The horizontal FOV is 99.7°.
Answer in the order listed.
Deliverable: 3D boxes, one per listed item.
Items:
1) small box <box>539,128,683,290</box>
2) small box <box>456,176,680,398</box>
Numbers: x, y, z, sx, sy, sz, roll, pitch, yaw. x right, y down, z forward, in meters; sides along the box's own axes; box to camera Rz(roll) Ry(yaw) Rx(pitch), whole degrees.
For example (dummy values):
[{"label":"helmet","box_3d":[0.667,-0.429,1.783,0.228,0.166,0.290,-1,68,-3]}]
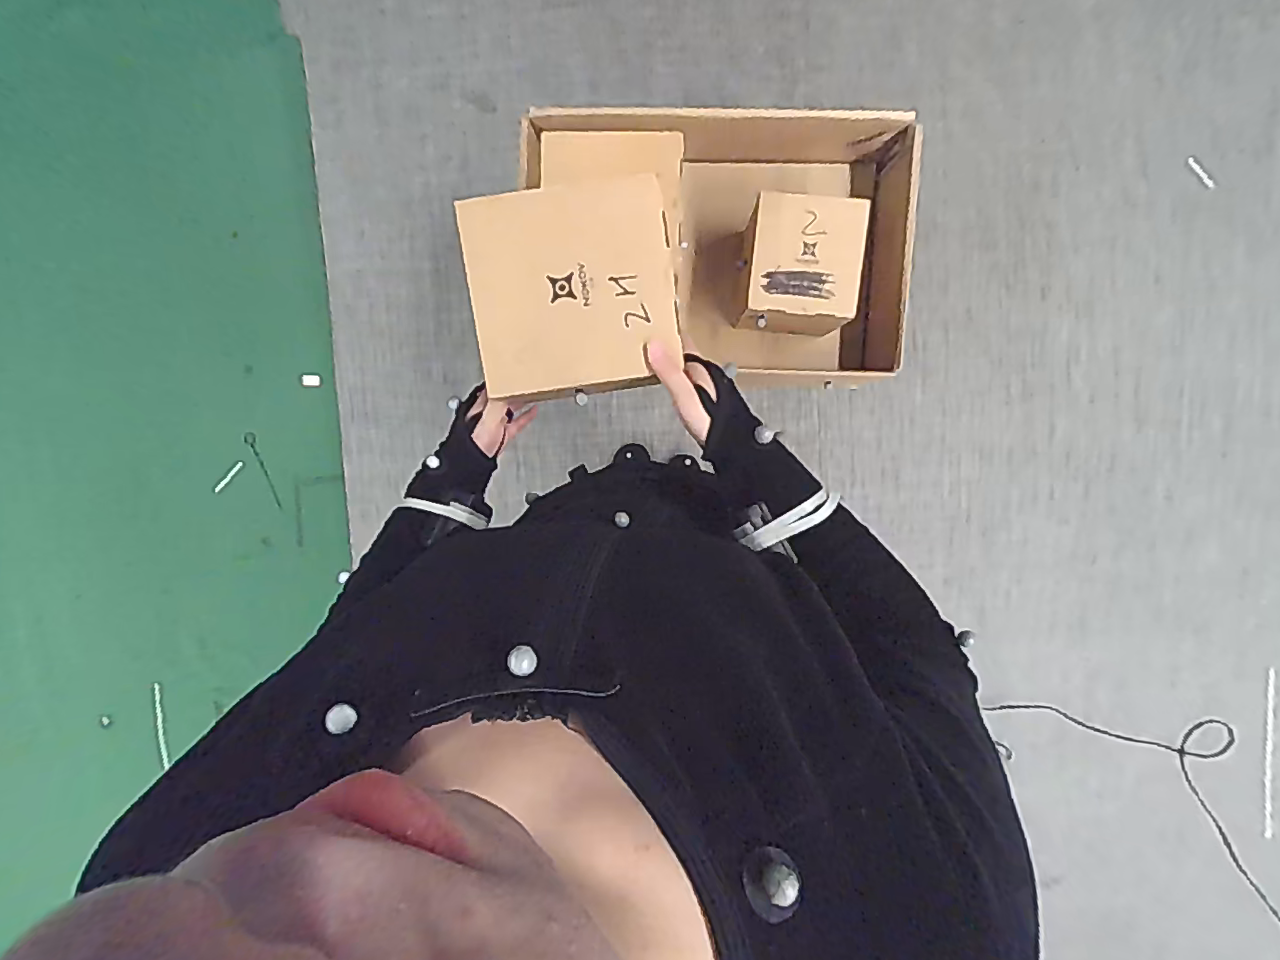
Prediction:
[{"label":"small box","box_3d":[-0.035,-0.351,0.743,0.179,0.176,0.168,1,96,1]},{"label":"small box","box_3d":[-0.061,-0.175,0.541,0.179,0.176,0.168,-8,98,-1]}]
